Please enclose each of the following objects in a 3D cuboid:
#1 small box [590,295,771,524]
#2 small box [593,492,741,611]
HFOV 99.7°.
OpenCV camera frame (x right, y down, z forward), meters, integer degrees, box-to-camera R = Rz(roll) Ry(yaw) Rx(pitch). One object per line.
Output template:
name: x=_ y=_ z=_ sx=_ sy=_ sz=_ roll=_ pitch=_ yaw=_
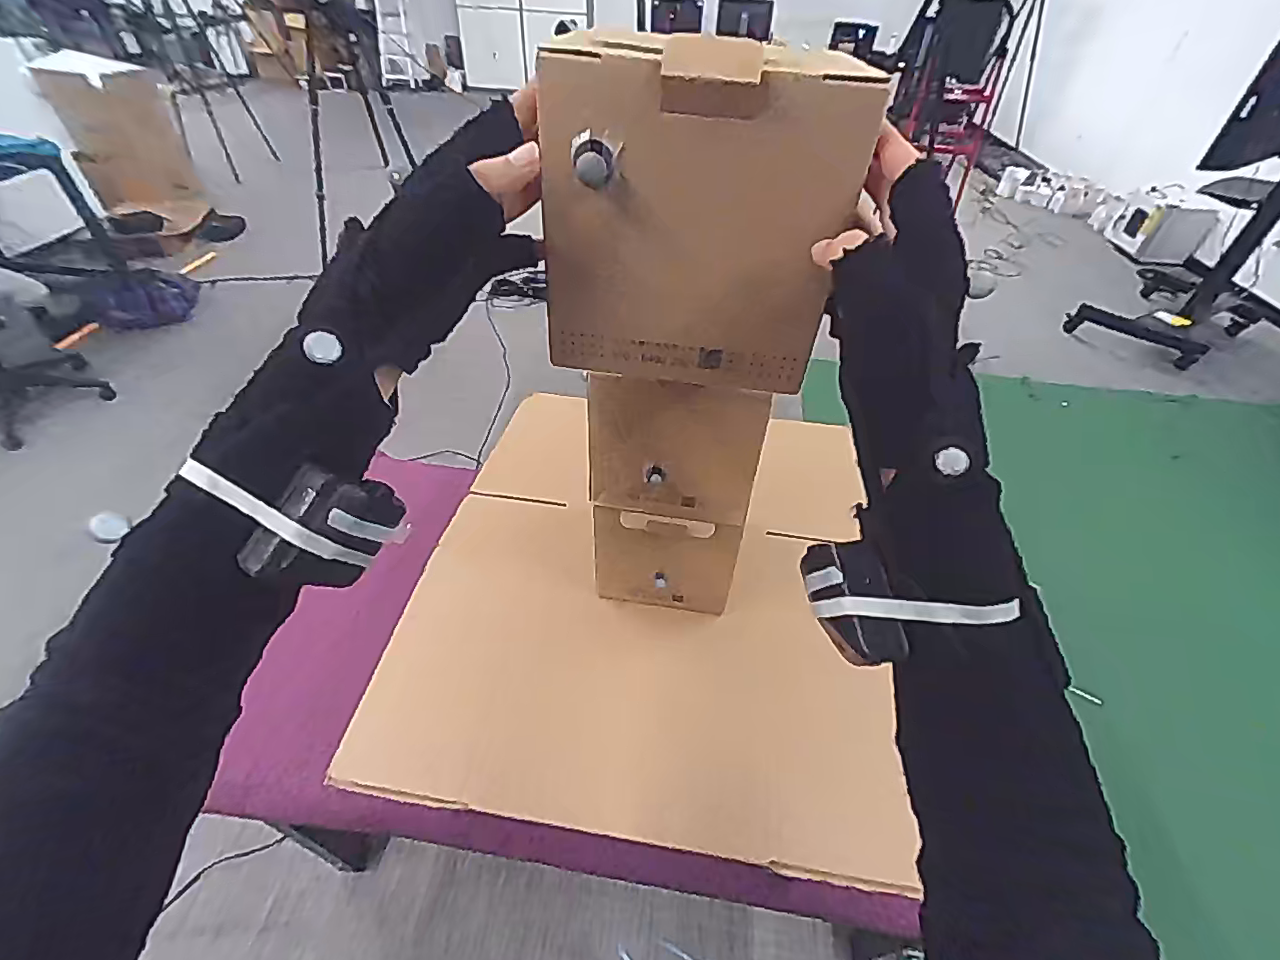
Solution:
small box: x=0.043 y=-0.079 z=0.590 sx=0.168 sy=0.176 sz=0.179 roll=8 pitch=43 yaw=5
small box: x=0.038 y=0.041 z=0.700 sx=0.168 sy=0.176 sz=0.179 roll=7 pitch=42 yaw=6
